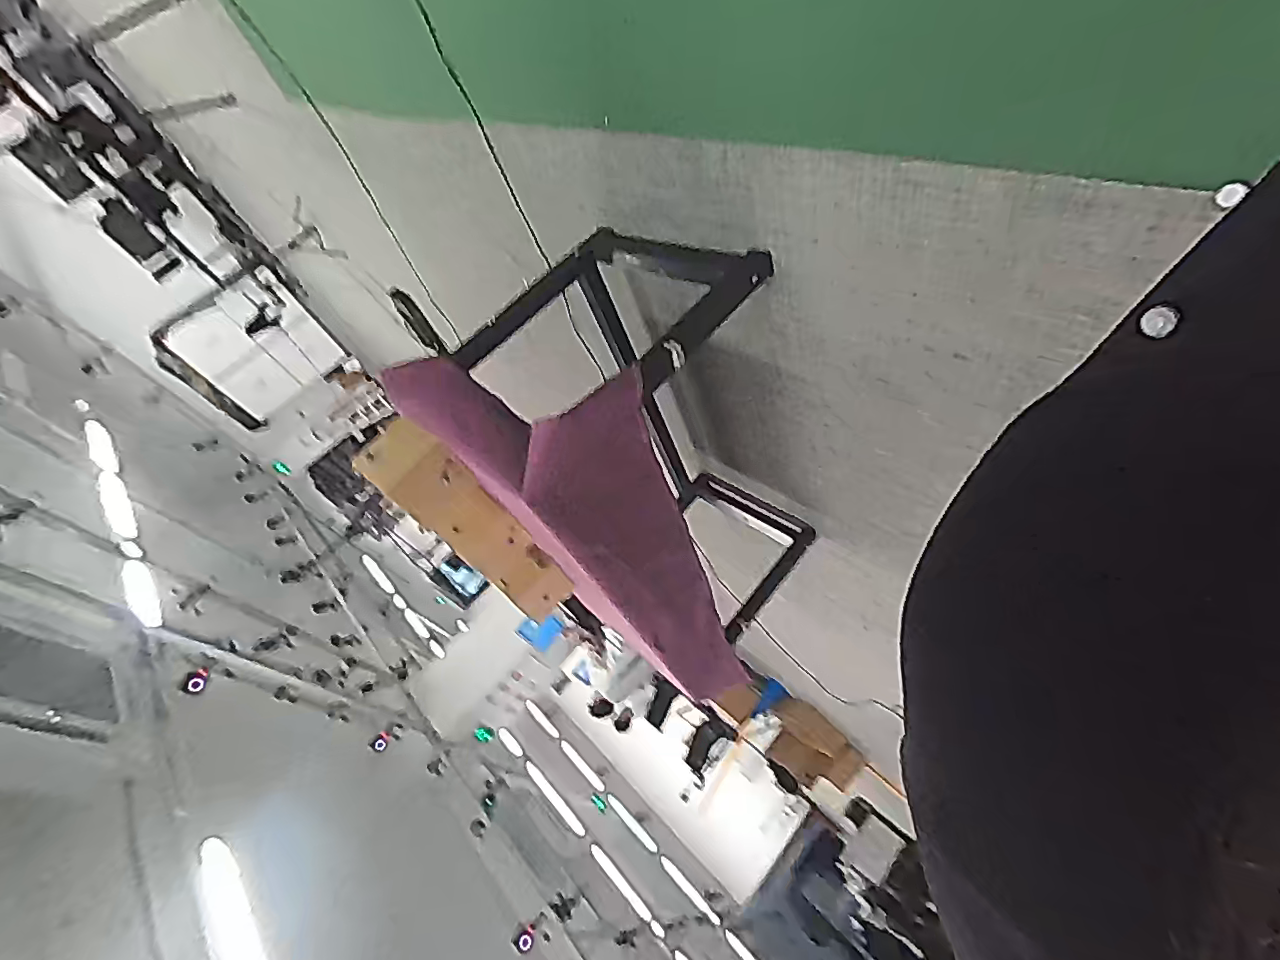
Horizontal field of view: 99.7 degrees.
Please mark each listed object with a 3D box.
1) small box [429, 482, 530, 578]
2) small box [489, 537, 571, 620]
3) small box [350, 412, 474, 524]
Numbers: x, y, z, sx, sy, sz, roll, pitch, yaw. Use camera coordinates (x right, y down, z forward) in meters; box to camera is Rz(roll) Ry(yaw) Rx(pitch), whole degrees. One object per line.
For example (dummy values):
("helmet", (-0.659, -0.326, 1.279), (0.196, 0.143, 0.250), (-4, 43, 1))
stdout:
("small box", (-0.437, 0.129, 1.485), (0.179, 0.176, 0.168), (29, 159, 37))
("small box", (-0.349, 0.299, 1.692), (0.168, 0.176, 0.179), (31, 161, 36))
("small box", (-0.525, -0.034, 1.263), (0.179, 0.176, 0.168), (28, 159, 34))
